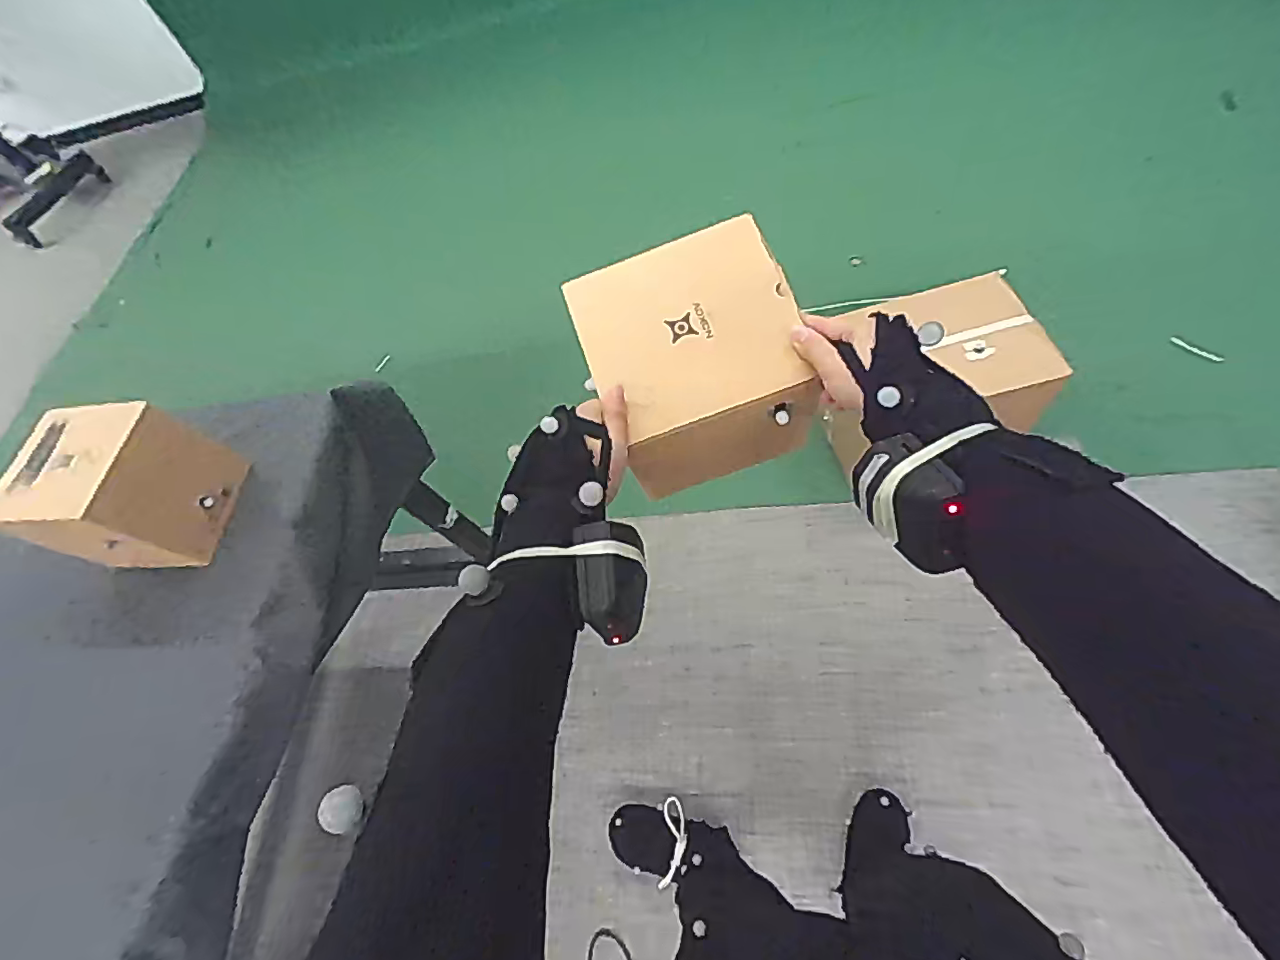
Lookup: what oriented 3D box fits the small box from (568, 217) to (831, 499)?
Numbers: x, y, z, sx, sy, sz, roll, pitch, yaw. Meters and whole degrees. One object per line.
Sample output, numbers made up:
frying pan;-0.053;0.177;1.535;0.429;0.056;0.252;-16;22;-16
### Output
small box;0.053;-0.098;0.509;0.179;0.176;0.168;-19;70;2
